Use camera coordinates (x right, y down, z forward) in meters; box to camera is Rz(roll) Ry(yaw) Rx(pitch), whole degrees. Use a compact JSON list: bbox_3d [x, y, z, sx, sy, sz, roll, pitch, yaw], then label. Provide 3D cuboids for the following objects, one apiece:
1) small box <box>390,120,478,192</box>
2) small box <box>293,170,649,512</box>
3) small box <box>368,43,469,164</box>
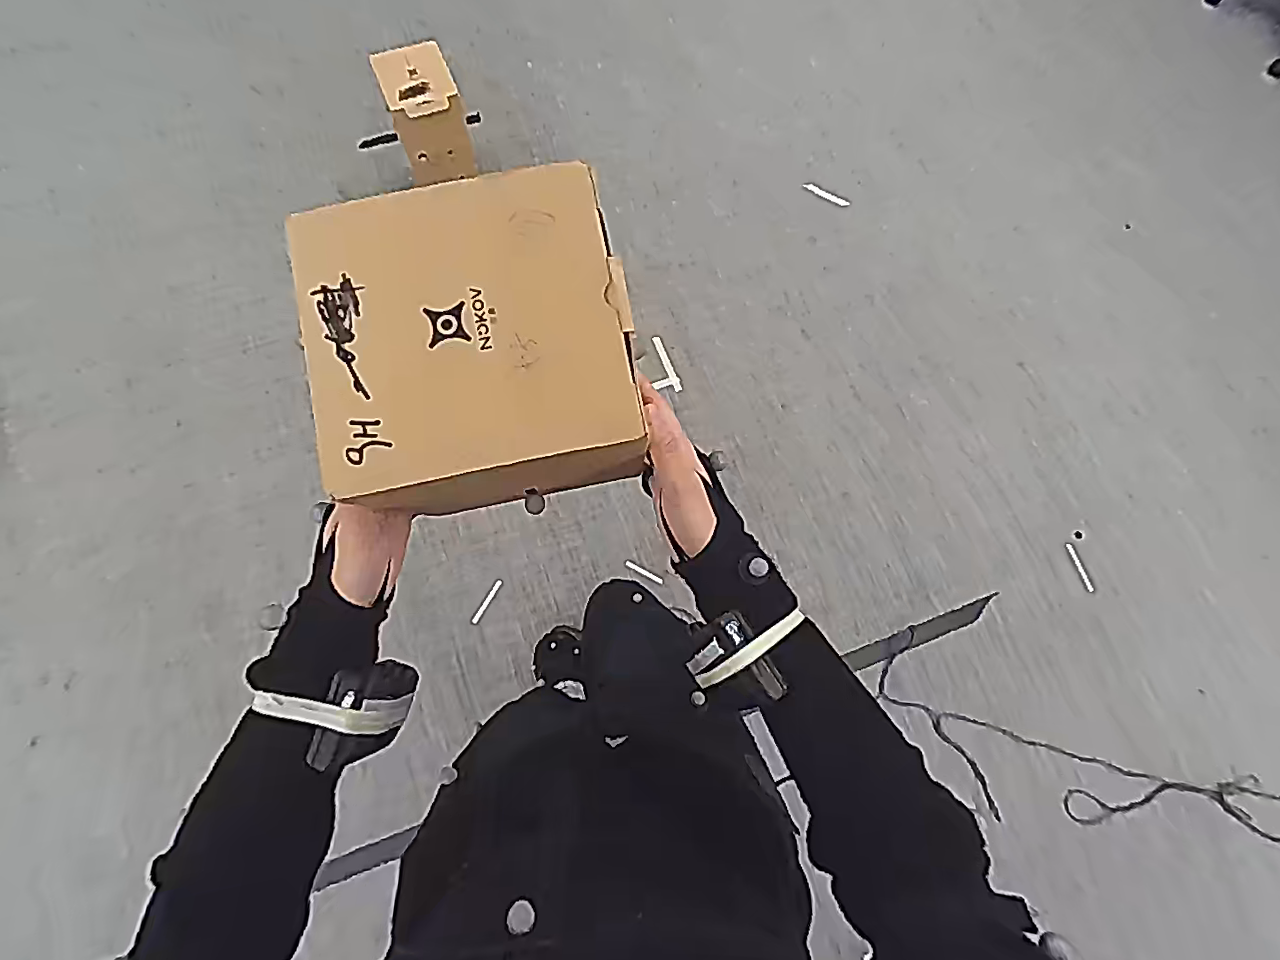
[{"bbox_3d":[-0.566,-0.891,1.513,0.168,0.176,0.179,-23,79,-11],"label":"small box"},{"bbox_3d":[-0.098,-0.076,0.378,0.179,0.176,0.168,-11,83,-4],"label":"small box"},{"bbox_3d":[-0.545,-0.930,1.354,0.168,0.176,0.179,-22,80,-11],"label":"small box"}]
